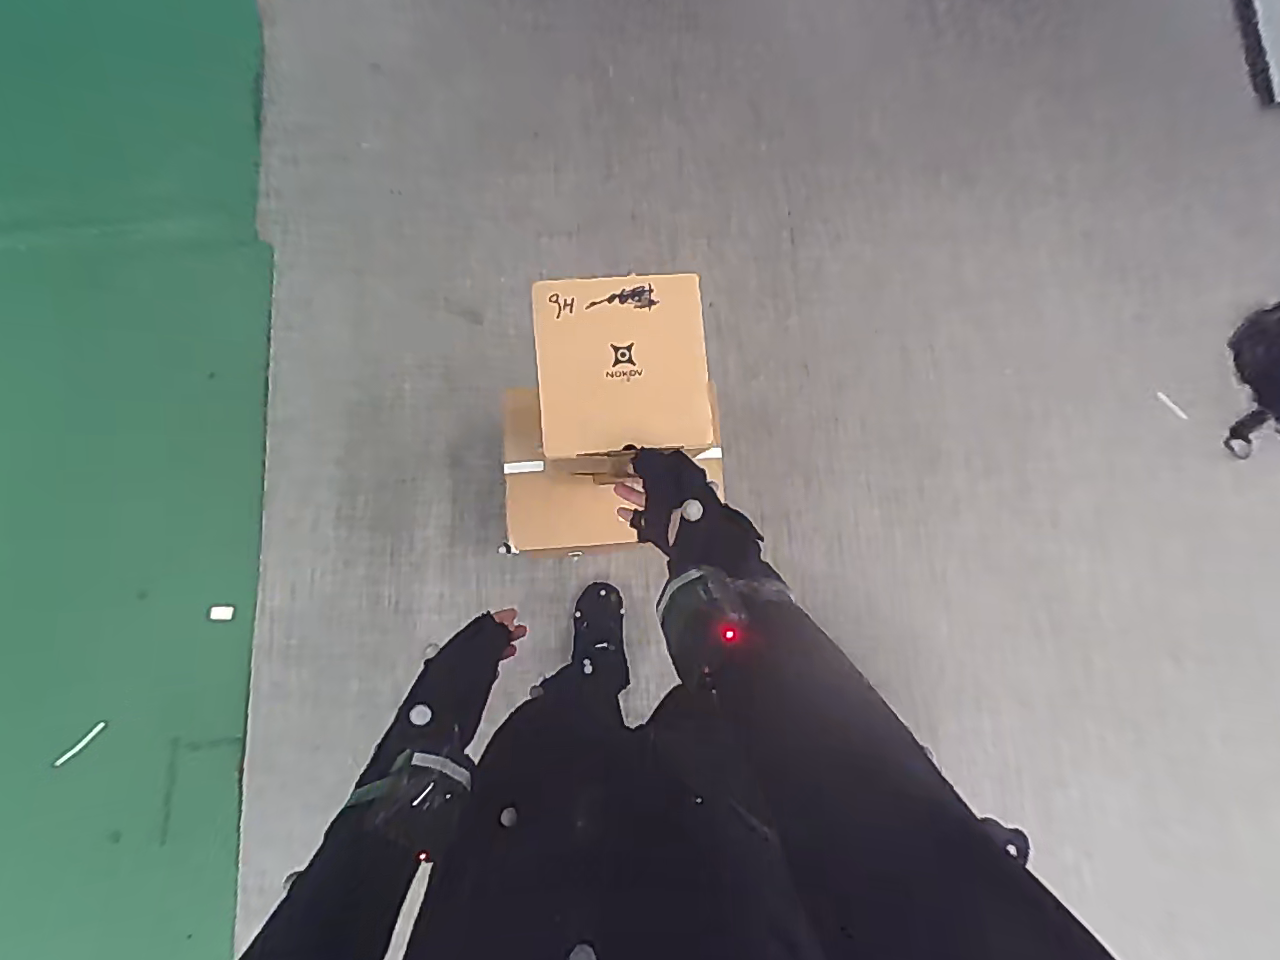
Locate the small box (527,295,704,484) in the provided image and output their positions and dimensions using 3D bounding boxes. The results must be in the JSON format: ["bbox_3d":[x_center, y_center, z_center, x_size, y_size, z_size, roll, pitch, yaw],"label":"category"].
[{"bbox_3d":[-0.028,-0.088,0.610,0.168,0.176,0.179,-5,86,-4],"label":"small box"}]
